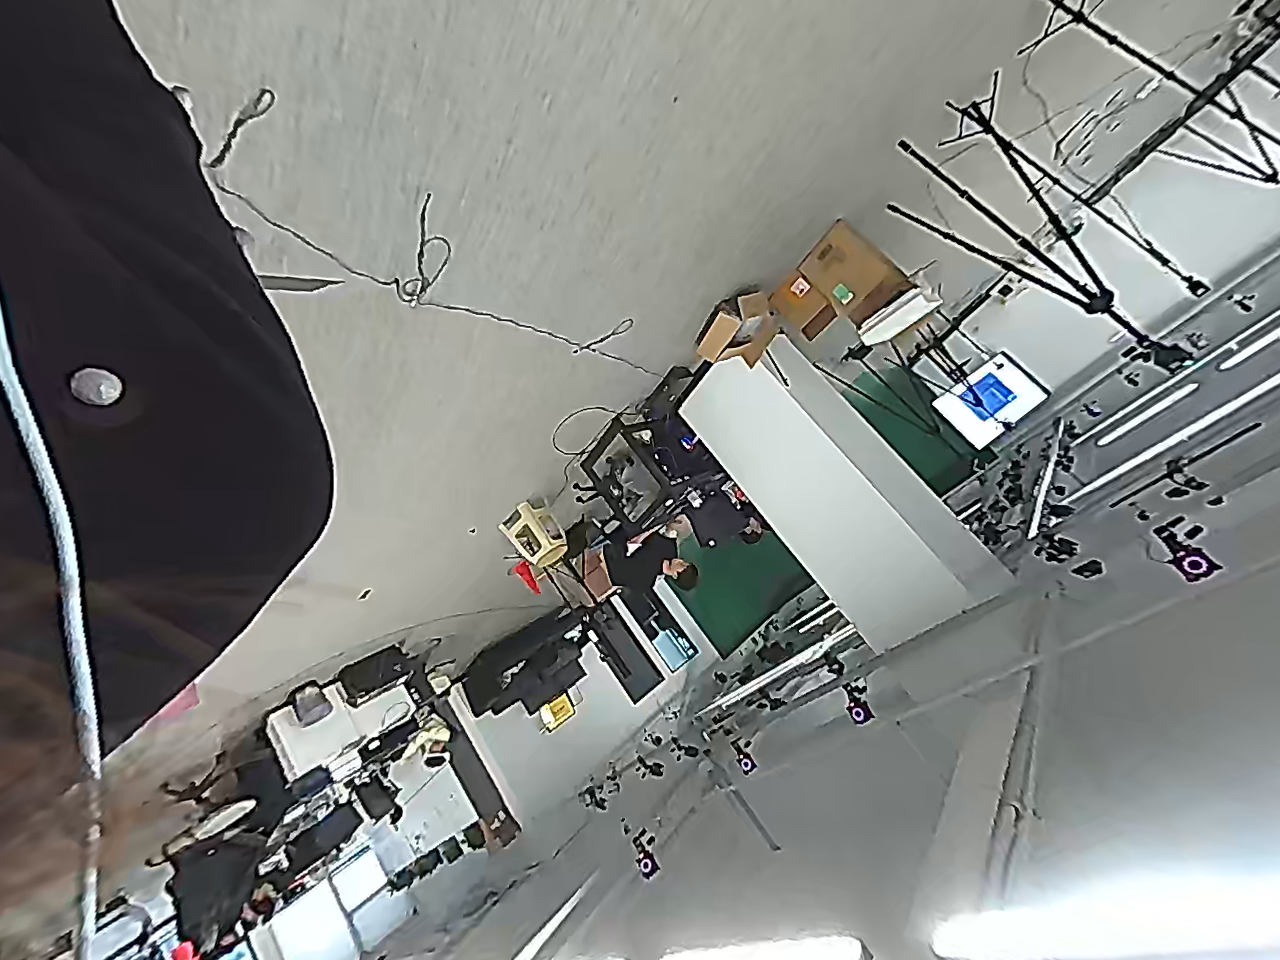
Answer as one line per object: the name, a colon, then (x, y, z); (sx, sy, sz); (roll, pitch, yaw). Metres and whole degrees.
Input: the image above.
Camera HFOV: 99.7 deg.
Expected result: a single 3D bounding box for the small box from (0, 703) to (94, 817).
small box: (-1.504, 0.690, 1.351); (0.168, 0.176, 0.179); (-17, 154, -52)
